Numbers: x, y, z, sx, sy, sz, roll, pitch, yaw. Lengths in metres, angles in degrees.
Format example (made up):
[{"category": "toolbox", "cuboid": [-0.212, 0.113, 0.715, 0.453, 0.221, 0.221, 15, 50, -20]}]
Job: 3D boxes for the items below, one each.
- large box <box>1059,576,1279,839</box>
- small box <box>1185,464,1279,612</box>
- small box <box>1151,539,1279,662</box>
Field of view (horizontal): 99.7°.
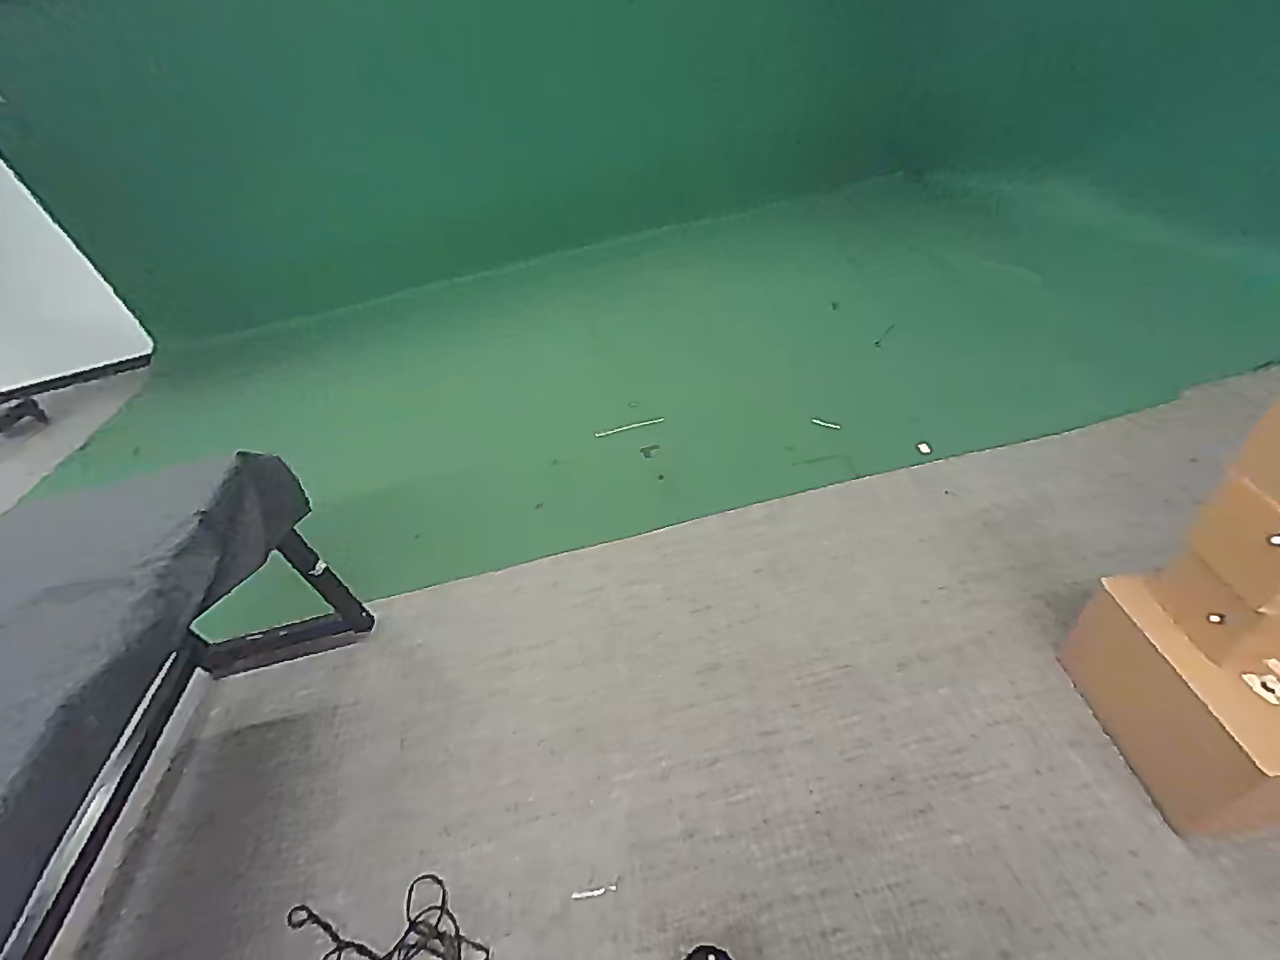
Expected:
[{"category": "large box", "cuboid": [1.166, 0.434, 1.085, 0.320, 0.320, 0.408, -11, 41, 5]}, {"category": "small box", "cuboid": [1.069, 0.090, 0.882, 0.168, 0.176, 0.179, -8, 42, 6]}, {"category": "small box", "cuboid": [1.105, 0.213, 0.981, 0.168, 0.176, 0.179, -9, 40, 4]}]
